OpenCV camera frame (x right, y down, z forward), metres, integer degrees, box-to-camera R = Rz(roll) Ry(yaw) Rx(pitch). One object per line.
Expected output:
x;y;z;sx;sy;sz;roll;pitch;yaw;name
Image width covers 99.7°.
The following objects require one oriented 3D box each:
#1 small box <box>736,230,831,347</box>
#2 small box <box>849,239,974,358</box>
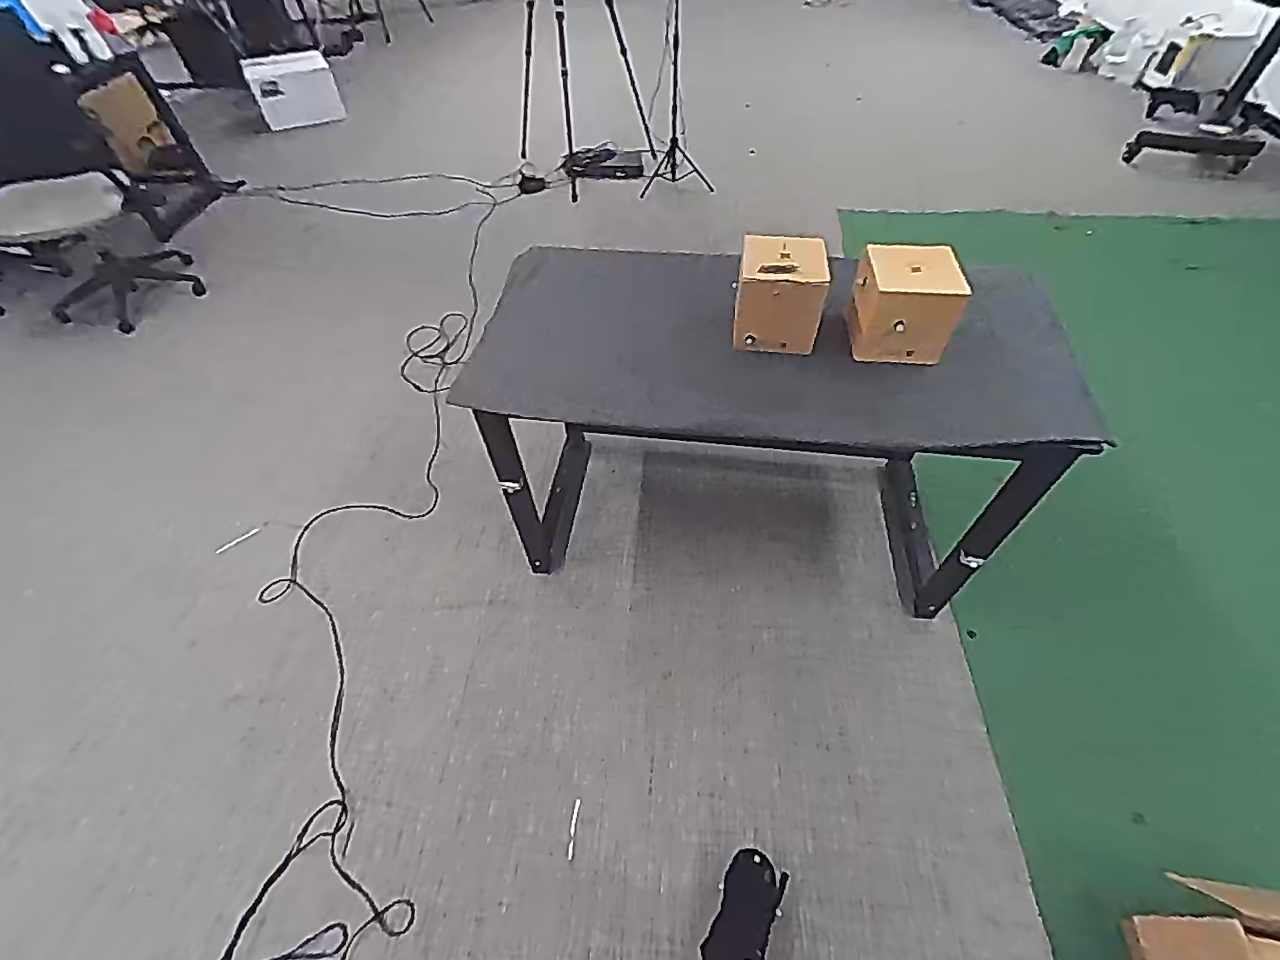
0.293;-0.398;1.129;0.168;0.176;0.179;6;51;7;small box
0.537;-0.366;1.096;0.168;0.176;0.179;4;51;5;small box
